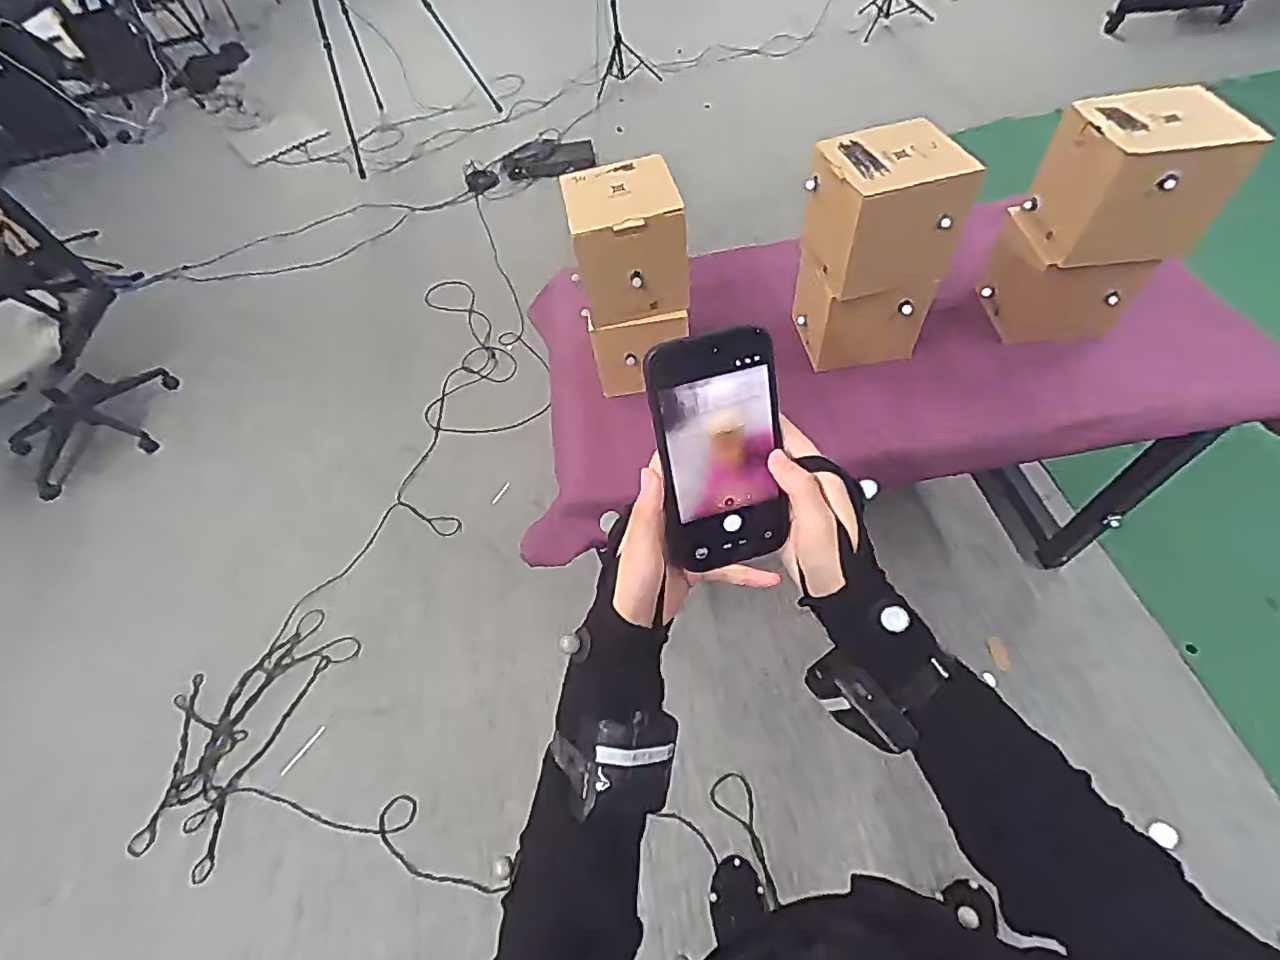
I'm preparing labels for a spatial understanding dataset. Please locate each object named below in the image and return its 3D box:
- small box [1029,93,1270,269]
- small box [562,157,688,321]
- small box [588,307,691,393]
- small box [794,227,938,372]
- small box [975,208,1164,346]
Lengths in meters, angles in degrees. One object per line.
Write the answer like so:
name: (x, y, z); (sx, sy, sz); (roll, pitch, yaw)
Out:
small box: (0.715, -0.431, 0.795); (0.179, 0.176, 0.168); (-3, 55, 6)
small box: (-0.021, -0.375, 0.867); (0.168, 0.176, 0.179); (-12, 56, 0)
small box: (0.000, -0.277, 0.997); (0.168, 0.176, 0.179); (-8, 55, 3)
small box: (0.388, -0.316, 0.963); (0.179, 0.176, 0.168); (-8, 55, 3)
small box: (0.725, -0.352, 0.938); (0.179, 0.176, 0.168); (-3, 55, 7)
